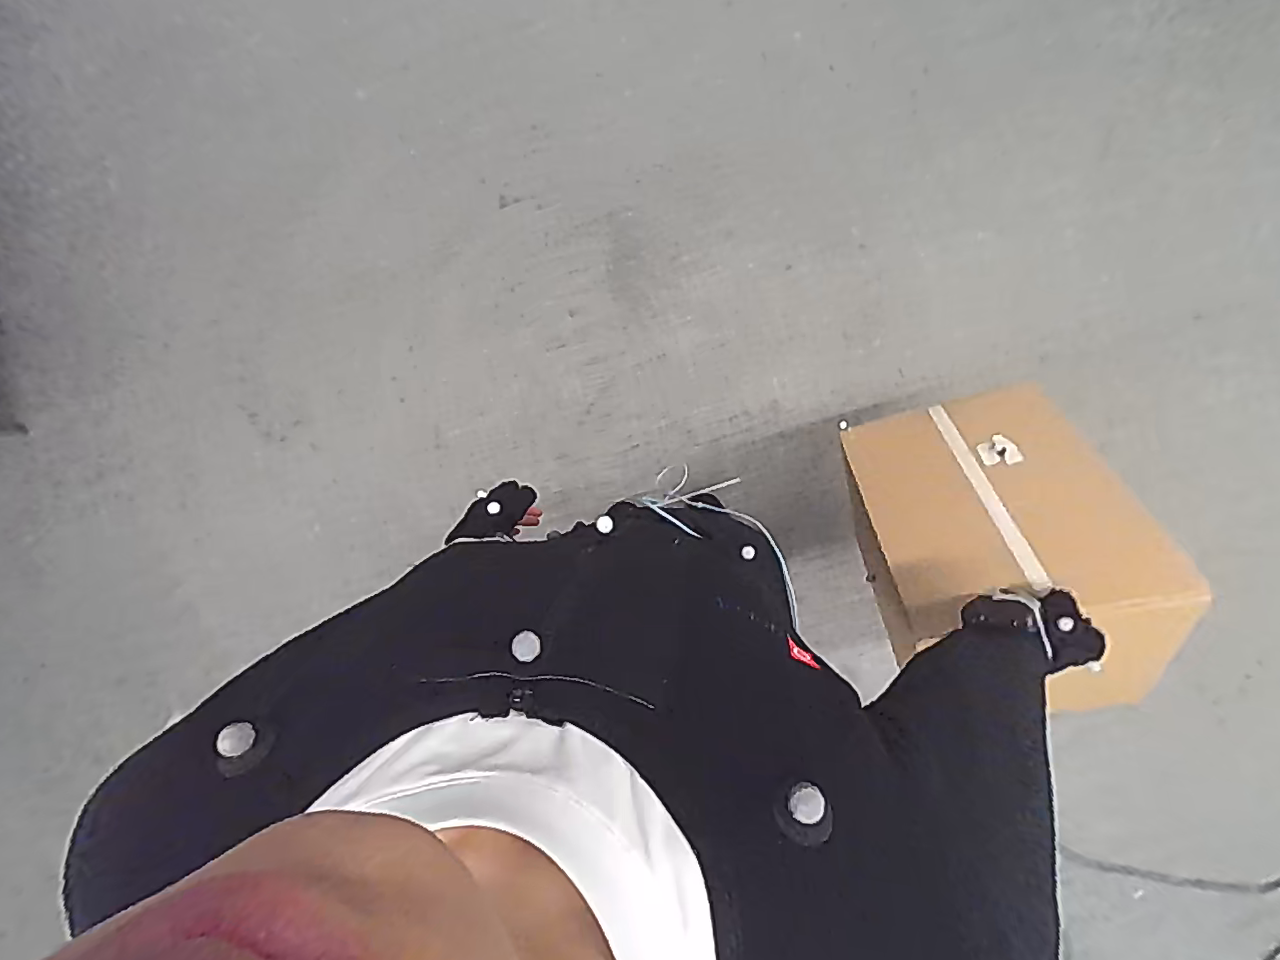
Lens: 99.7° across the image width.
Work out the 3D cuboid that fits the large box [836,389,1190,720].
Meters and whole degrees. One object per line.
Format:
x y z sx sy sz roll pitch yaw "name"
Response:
0.545 0.122 0.891 0.320 0.408 0.320 -13 133 15 "large box"
